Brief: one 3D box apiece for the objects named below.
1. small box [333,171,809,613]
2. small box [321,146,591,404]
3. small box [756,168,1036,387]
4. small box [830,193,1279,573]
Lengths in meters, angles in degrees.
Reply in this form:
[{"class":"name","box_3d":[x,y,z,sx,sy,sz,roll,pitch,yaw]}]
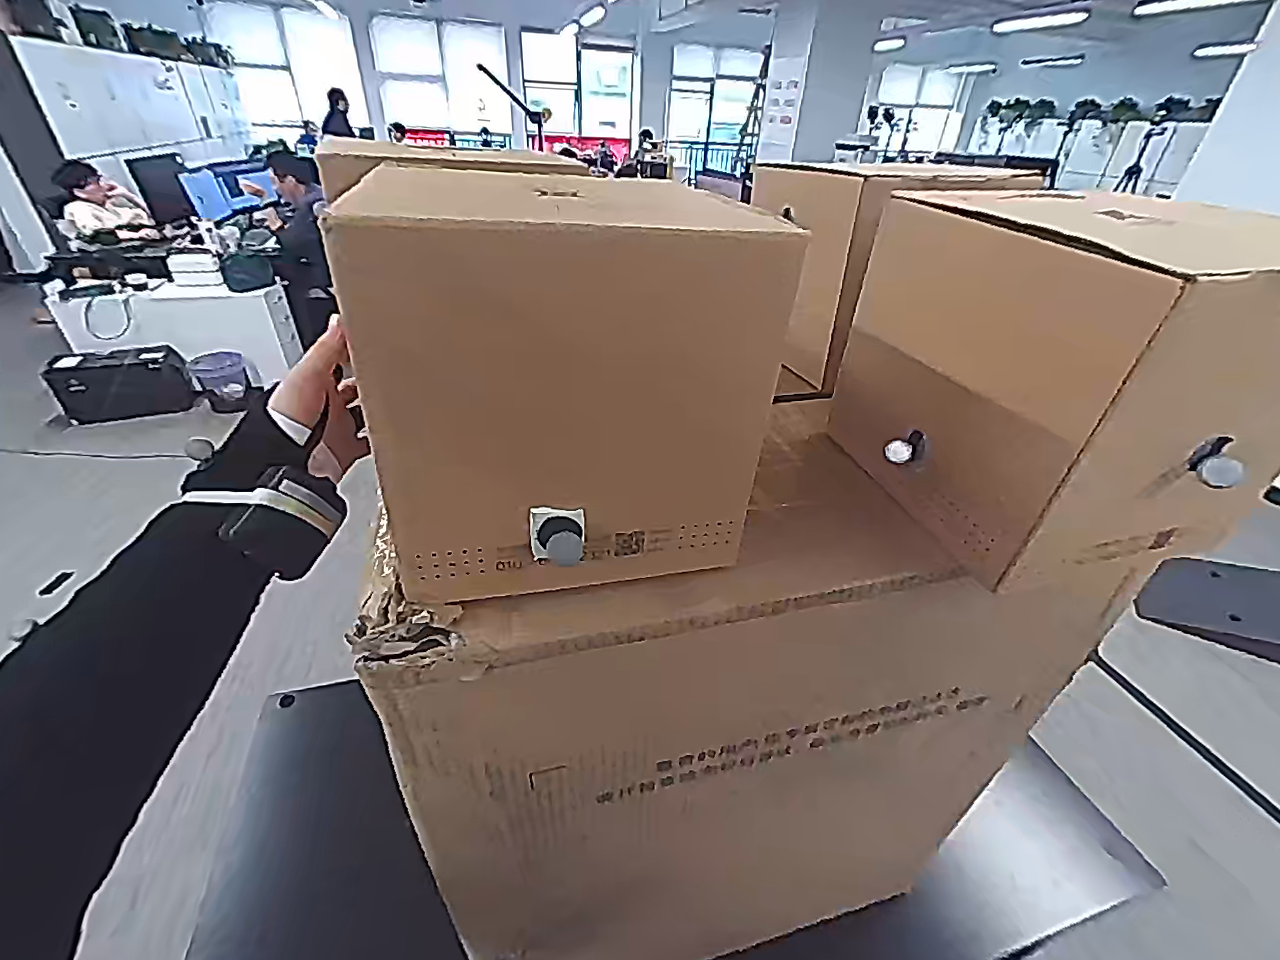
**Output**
[{"class":"small box","box_3d":[-0.042,-0.057,0.291,0.168,0.176,0.179,-6,36,-15]},{"class":"small box","box_3d":[-0.145,-0.167,0.443,0.168,0.176,0.179,-10,35,-21]},{"class":"small box","box_3d":[0.210,-0.198,0.516,0.168,0.176,0.179,-9,33,-14]},{"class":"small box","box_3d":[0.244,-0.062,0.324,0.168,0.176,0.179,-8,38,-14]}]
